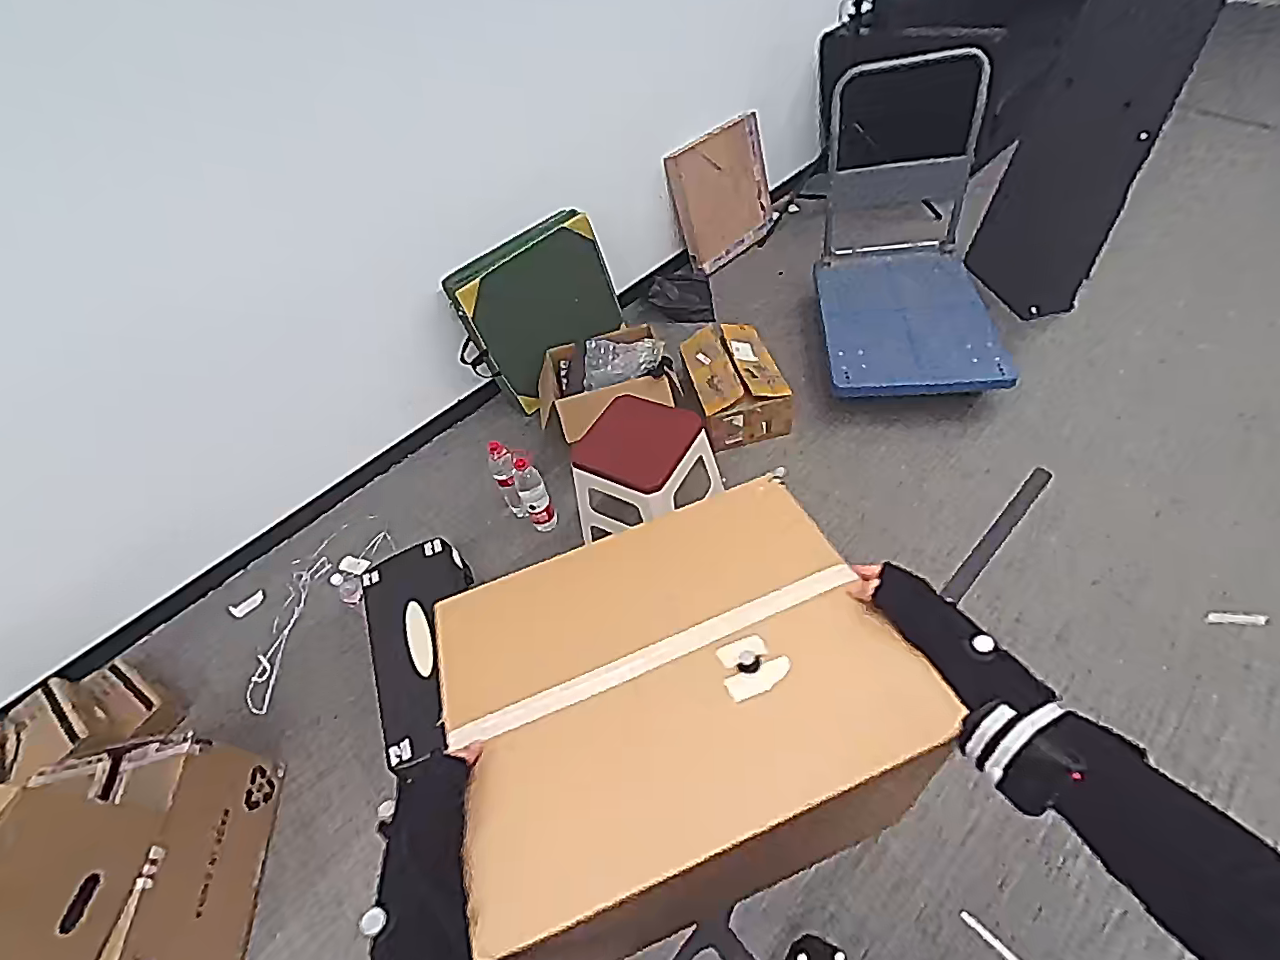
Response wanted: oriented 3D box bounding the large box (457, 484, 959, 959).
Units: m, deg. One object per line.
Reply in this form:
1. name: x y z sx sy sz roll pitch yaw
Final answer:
1. large box: 0.053 0.271 0.620 0.408 0.320 0.320 -20 45 -7
